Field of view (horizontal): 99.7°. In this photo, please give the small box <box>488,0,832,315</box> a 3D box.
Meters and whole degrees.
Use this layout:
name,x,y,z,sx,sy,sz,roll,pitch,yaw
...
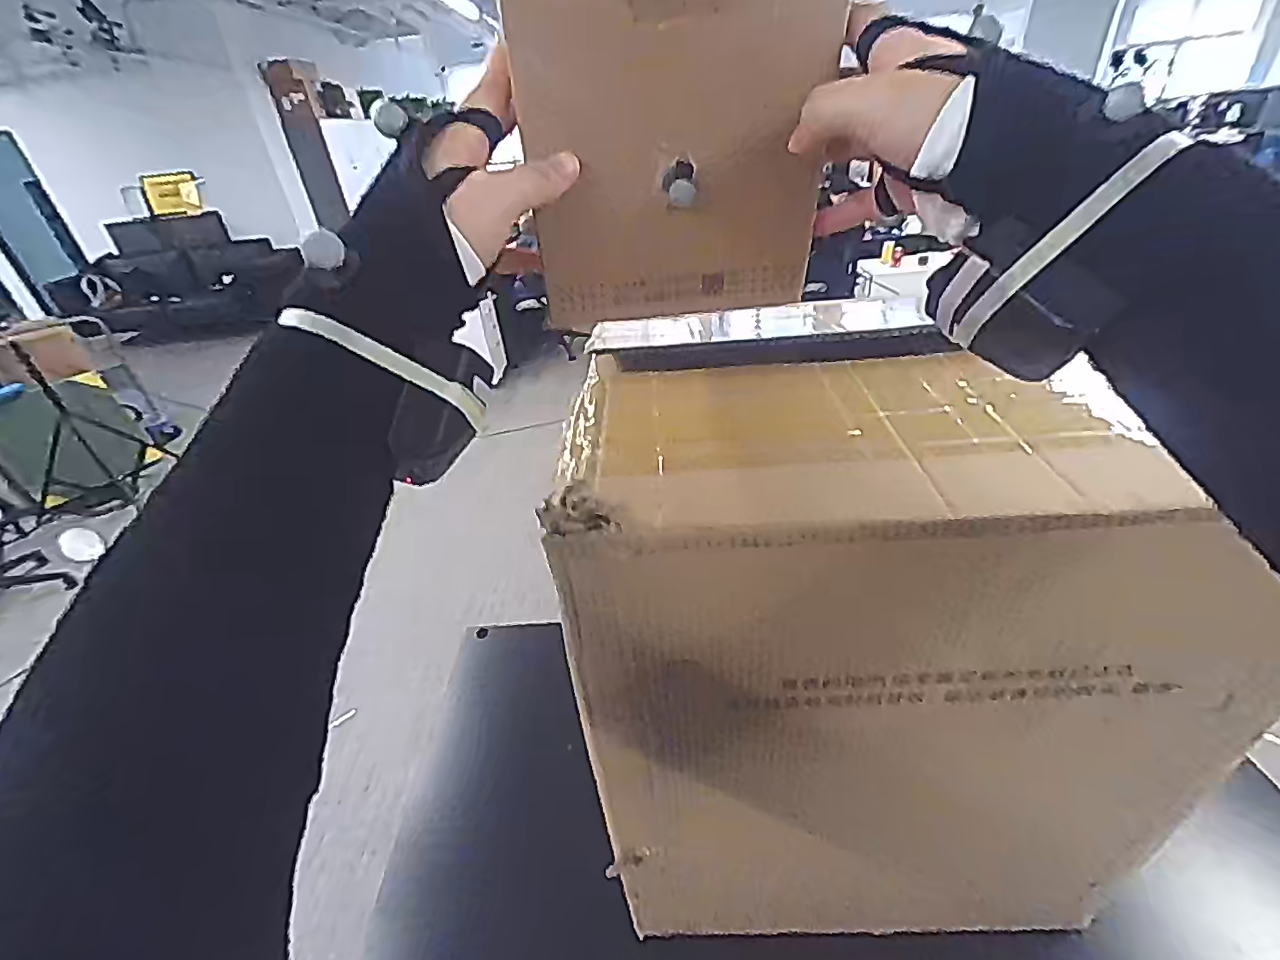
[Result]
name,x,y,z,sx,sy,sz,roll,pitch,yaw
small box,0.009,-0.220,0.356,0.168,0.176,0.179,-7,43,-3
